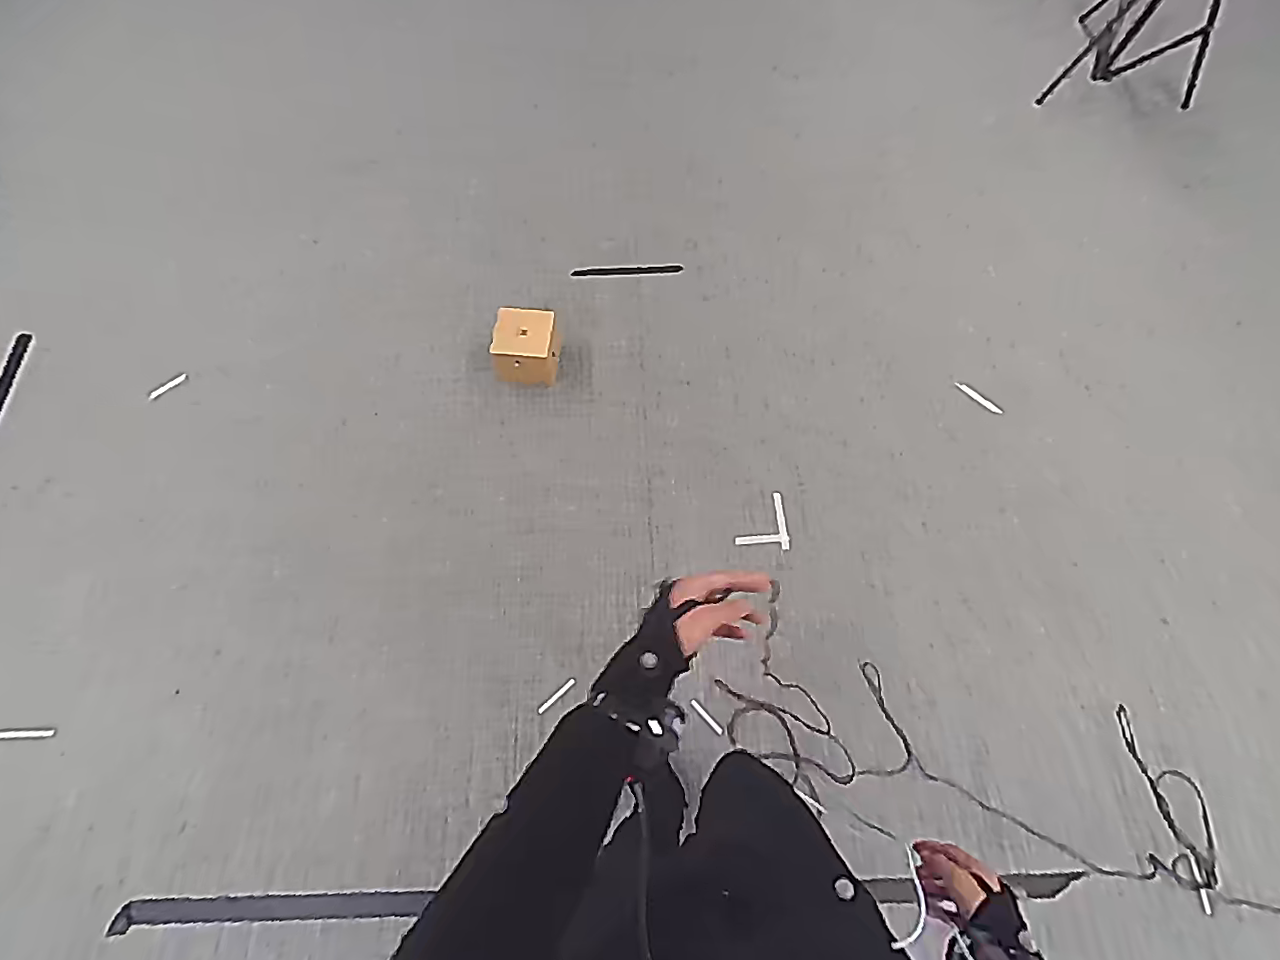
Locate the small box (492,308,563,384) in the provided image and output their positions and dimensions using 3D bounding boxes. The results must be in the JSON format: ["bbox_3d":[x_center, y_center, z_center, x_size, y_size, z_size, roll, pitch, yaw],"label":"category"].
[{"bbox_3d":[-0.347,-0.416,1.706,0.179,0.176,0.168,5,71,3],"label":"small box"}]
